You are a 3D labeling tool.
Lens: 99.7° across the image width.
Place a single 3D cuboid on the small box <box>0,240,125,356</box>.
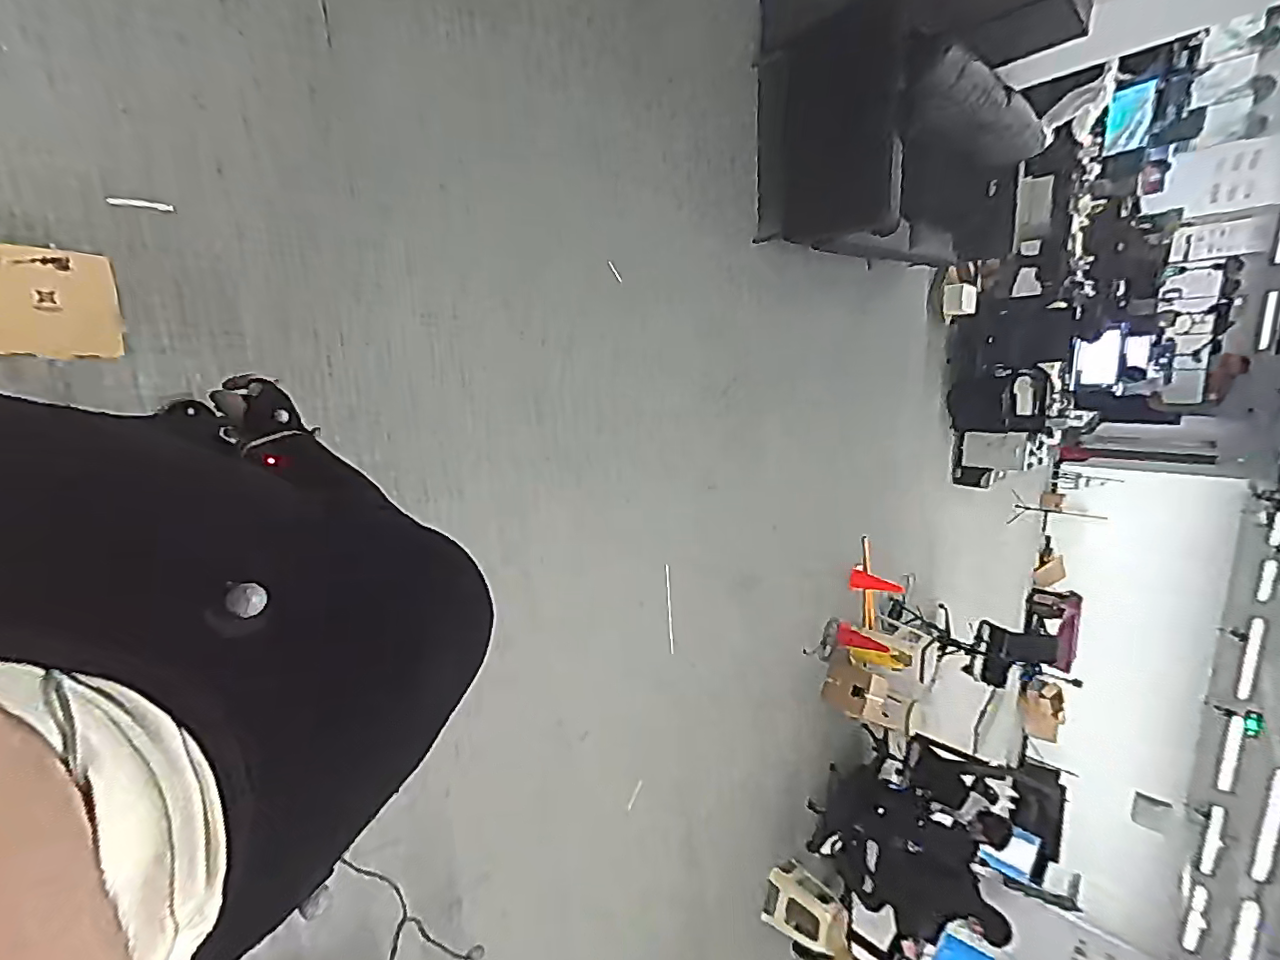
[{"bbox_3d":[-1.036,-0.313,0.958,0.168,0.176,0.179,-9,105,-44],"label":"small box"}]
